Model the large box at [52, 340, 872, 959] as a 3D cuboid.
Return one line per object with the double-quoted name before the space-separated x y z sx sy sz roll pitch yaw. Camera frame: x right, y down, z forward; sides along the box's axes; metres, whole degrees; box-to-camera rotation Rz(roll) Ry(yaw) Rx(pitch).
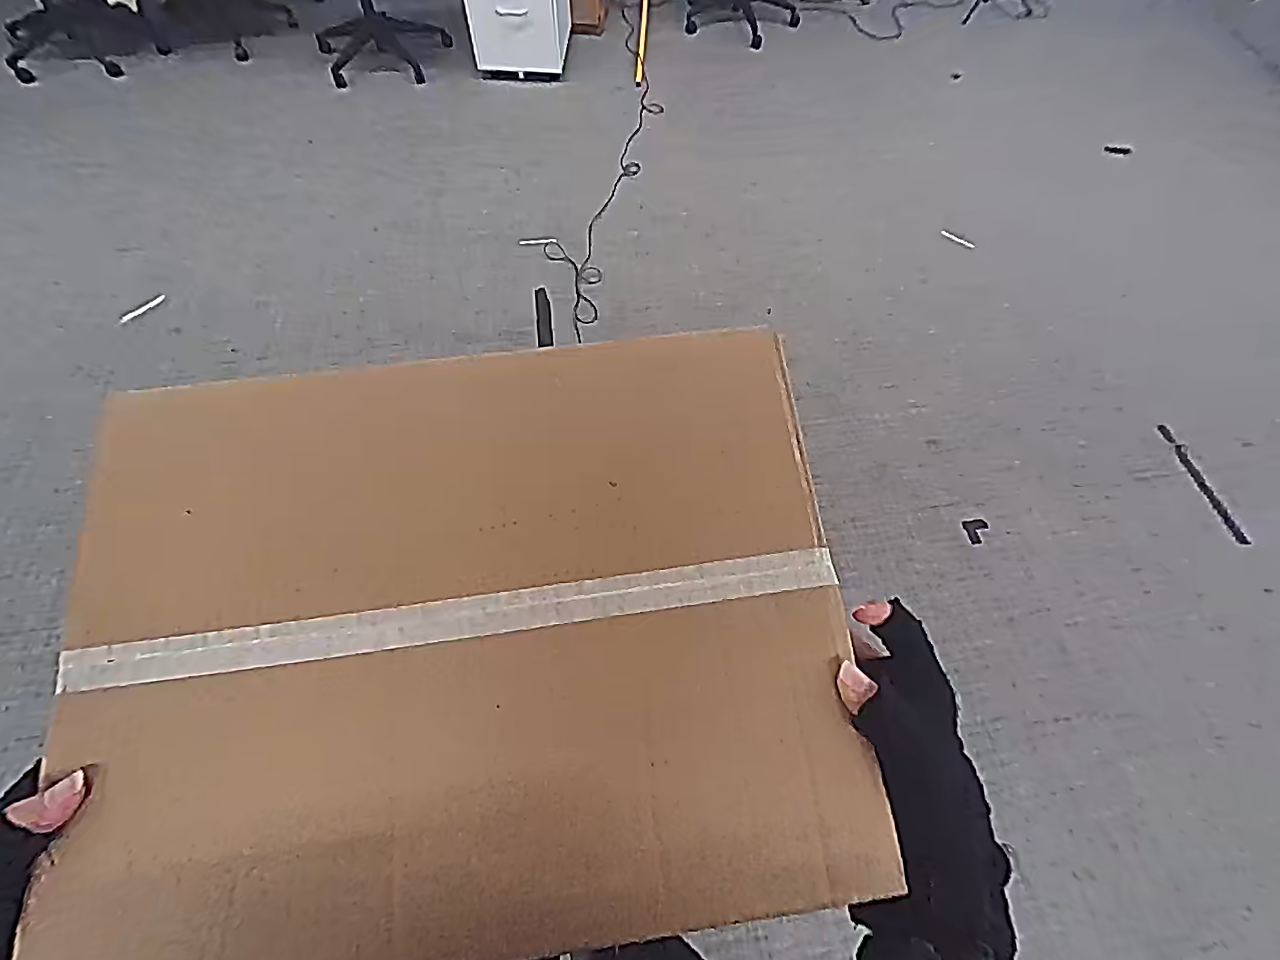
"large box" -0.100 0.120 0.443 0.408 0.320 0.320 -7 73 -3
